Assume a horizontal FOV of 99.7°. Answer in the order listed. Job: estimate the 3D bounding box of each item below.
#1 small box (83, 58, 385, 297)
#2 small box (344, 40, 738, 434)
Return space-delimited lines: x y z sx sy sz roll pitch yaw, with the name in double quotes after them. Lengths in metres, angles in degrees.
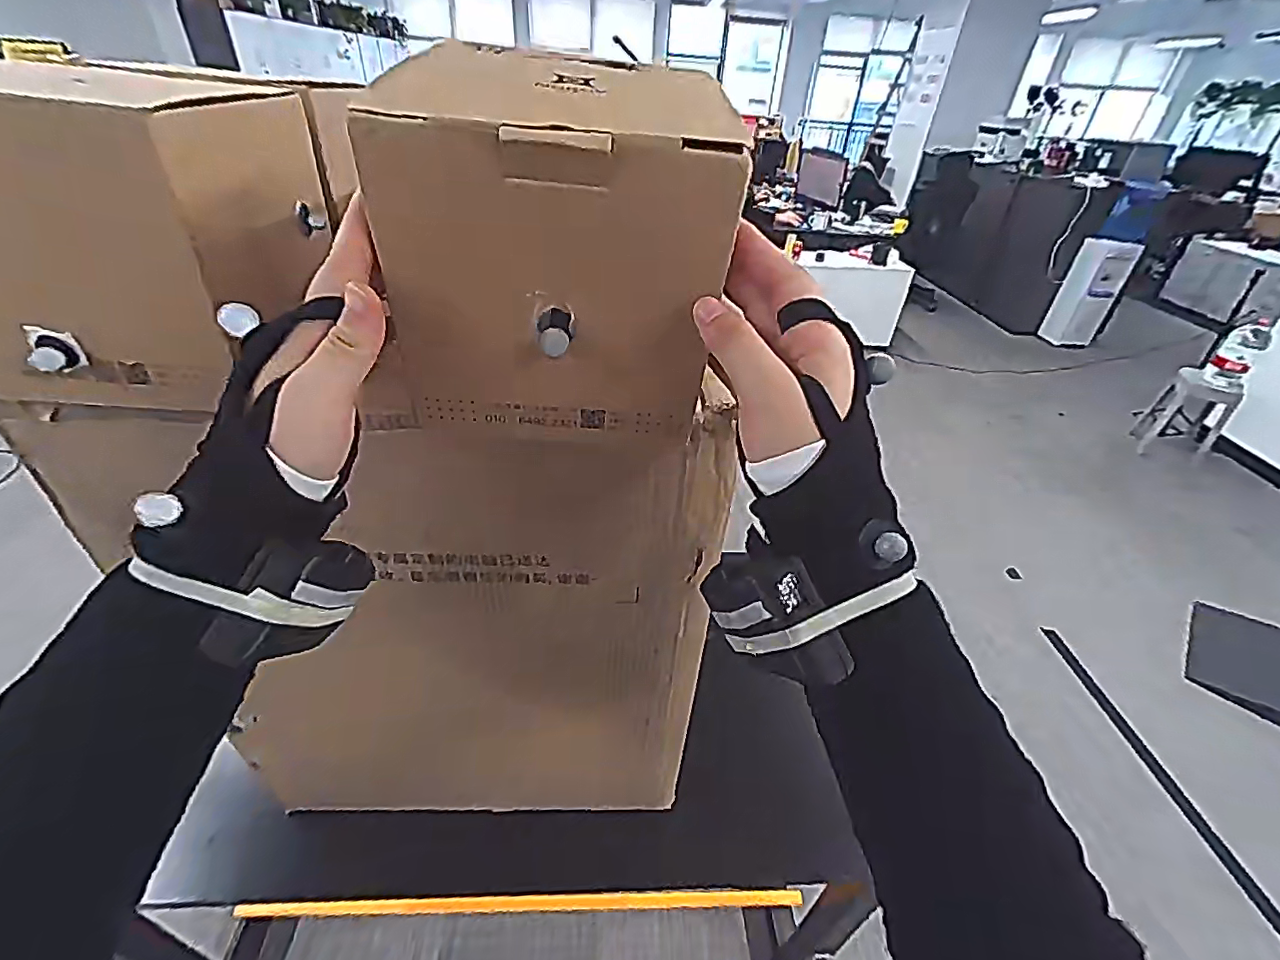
-0.352 -0.290 0.527 0.168 0.176 0.179 0 34 -6 "small box"
-0.046 -0.145 0.335 0.168 0.176 0.179 3 46 -5 "small box"
